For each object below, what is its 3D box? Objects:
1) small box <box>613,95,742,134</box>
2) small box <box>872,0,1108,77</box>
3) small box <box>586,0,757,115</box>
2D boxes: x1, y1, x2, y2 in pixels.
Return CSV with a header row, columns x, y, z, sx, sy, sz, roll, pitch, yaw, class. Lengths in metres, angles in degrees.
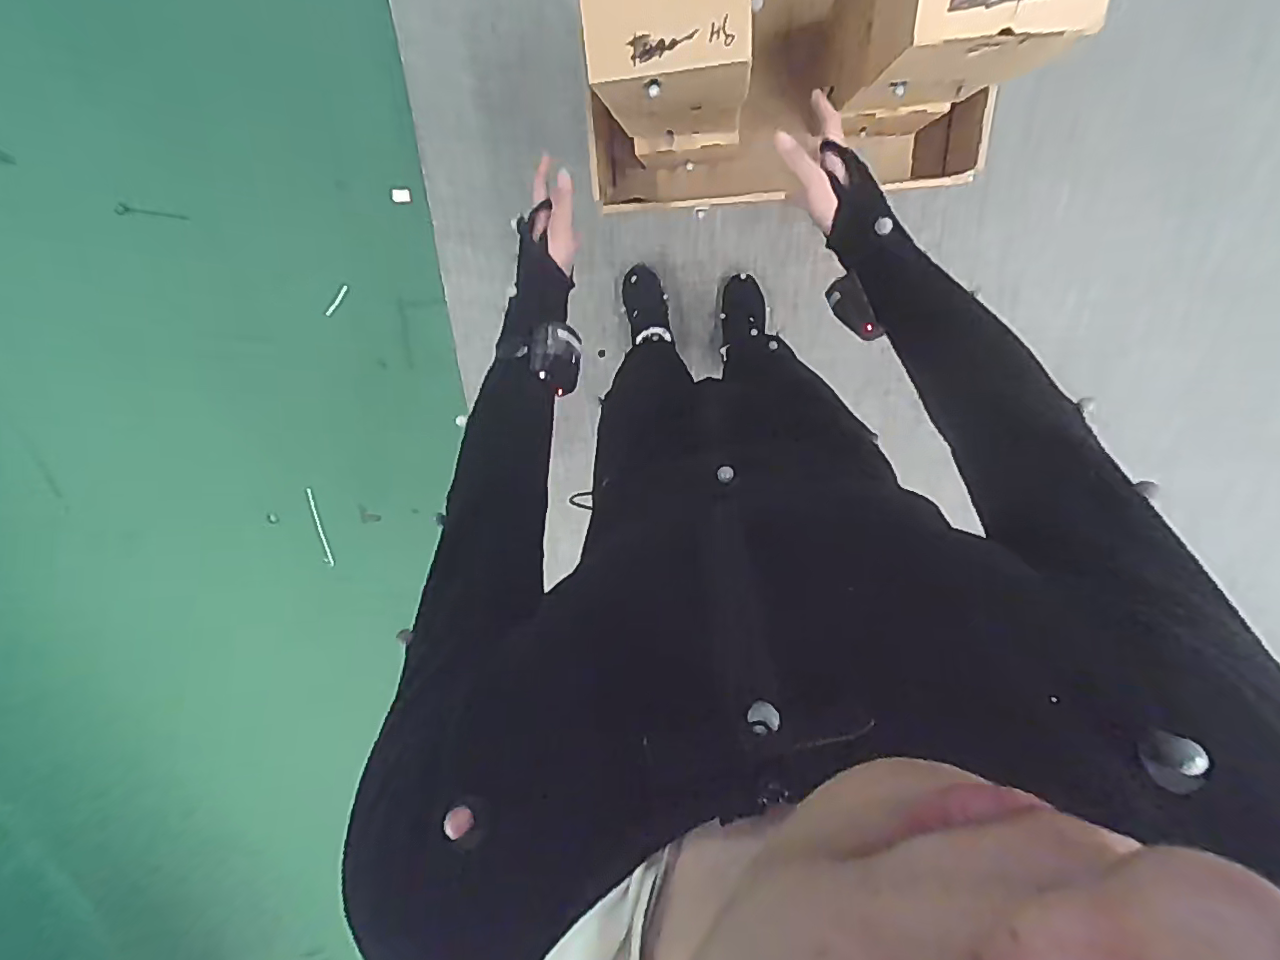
x,y,z,sx,sy,sz,roll,pitch,yaw,class
0.056,-0.585,0.725,0.168,0.176,0.179,3,113,8,small box
0.342,-0.521,0.533,0.168,0.176,0.179,1,113,6,small box
0.036,-0.521,0.577,0.168,0.176,0.179,-1,112,9,small box
